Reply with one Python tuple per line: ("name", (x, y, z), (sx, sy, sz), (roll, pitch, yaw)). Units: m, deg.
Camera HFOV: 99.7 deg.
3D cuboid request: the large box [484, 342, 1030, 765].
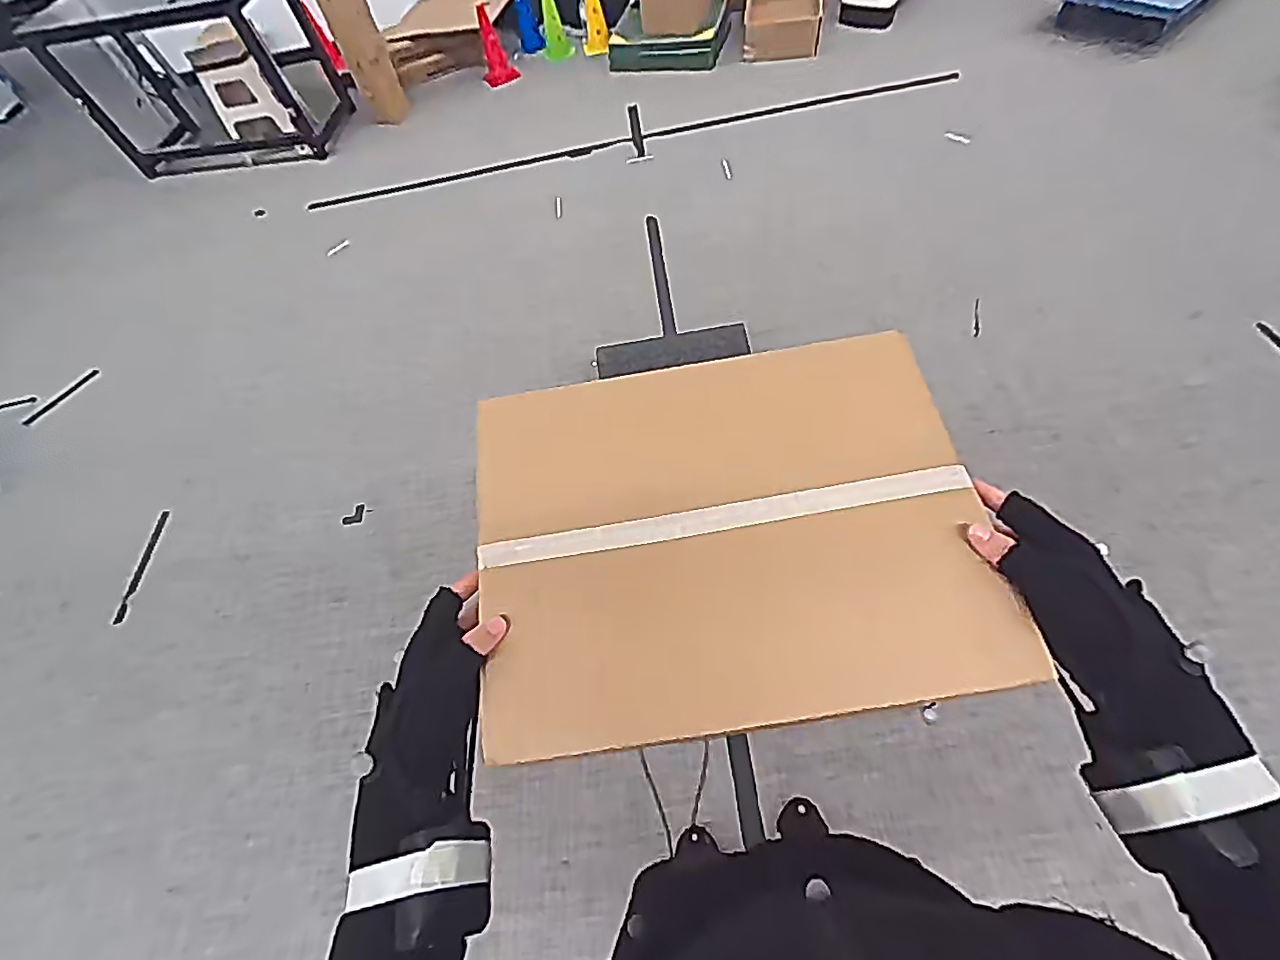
("large box", (0.081, 0.097, 0.588), (0.408, 0.320, 0.320), (-9, 64, 1))
